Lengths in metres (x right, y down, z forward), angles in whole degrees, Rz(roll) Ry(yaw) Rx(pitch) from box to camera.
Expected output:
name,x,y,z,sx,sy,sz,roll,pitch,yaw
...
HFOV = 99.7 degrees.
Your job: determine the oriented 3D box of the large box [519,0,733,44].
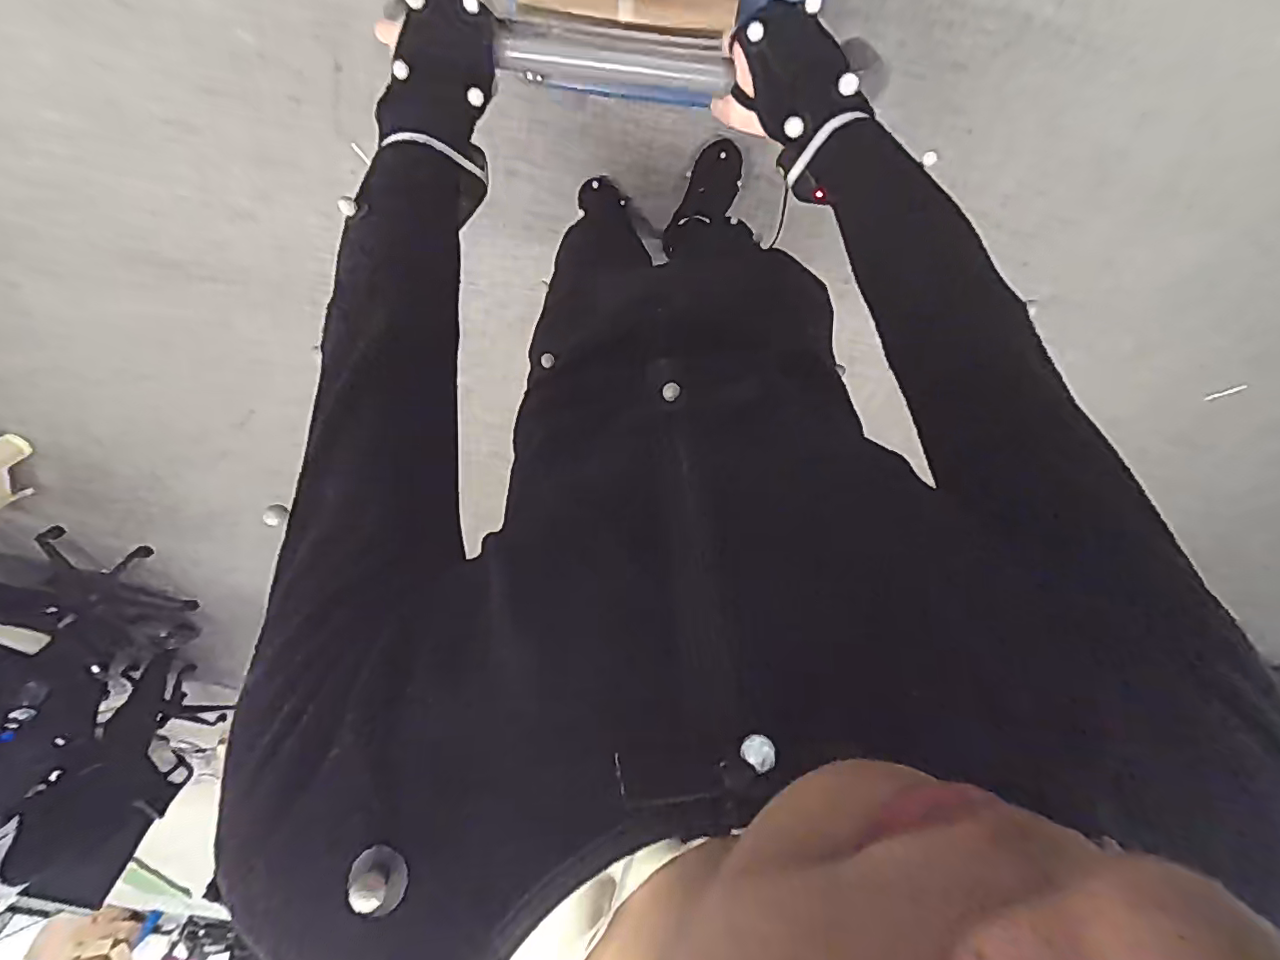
name,x,y,z,sx,sy,sz,roll,pitch,yaw
large box,0.004,-0.911,0.788,0.320,0.320,0.408,7,127,-1
